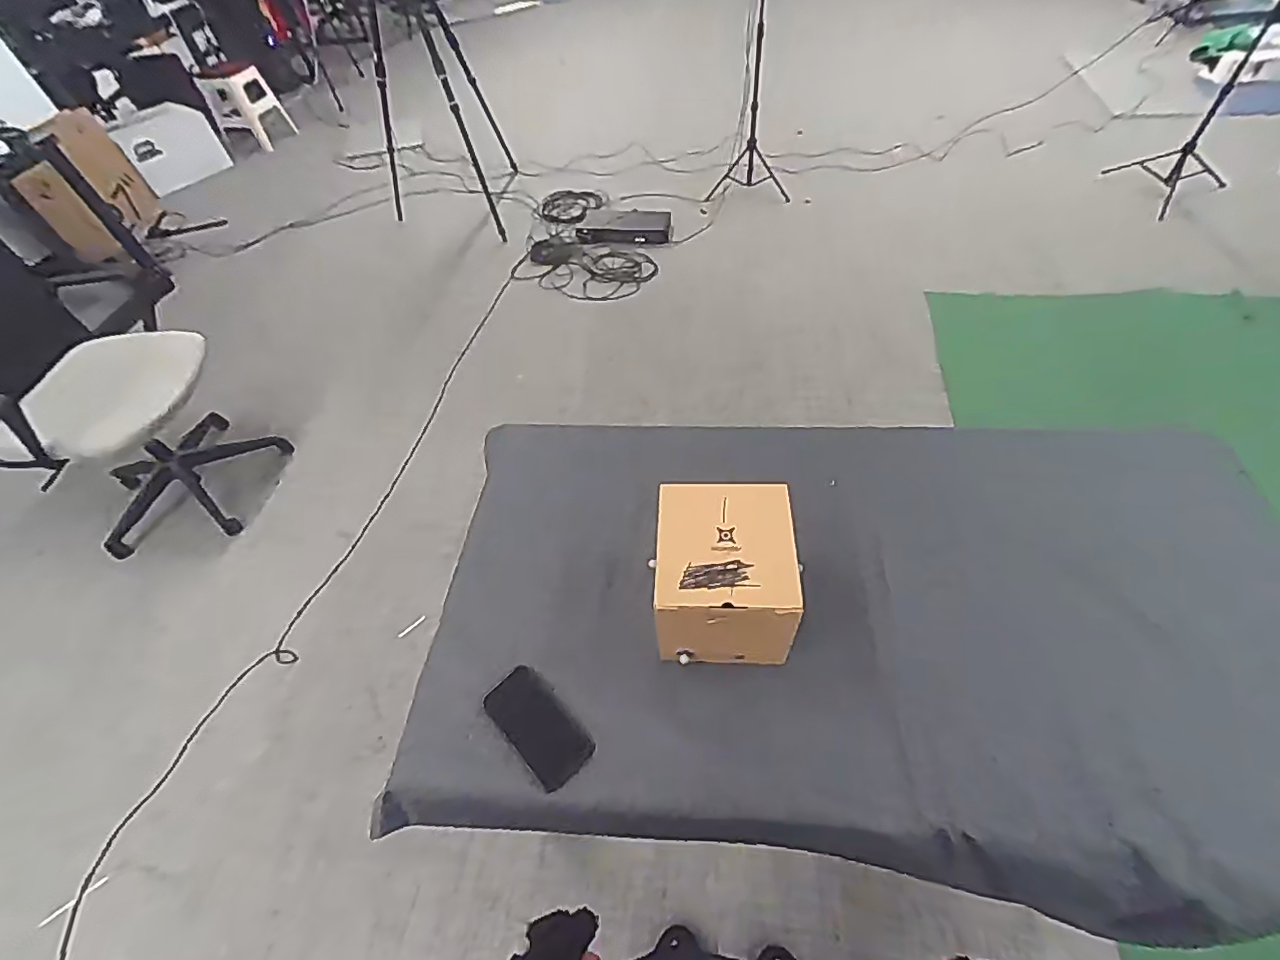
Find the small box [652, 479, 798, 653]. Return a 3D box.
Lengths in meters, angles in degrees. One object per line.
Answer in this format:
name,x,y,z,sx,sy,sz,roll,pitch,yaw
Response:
small box,0.108,0.117,0.716,0.168,0.176,0.179,0,52,6
